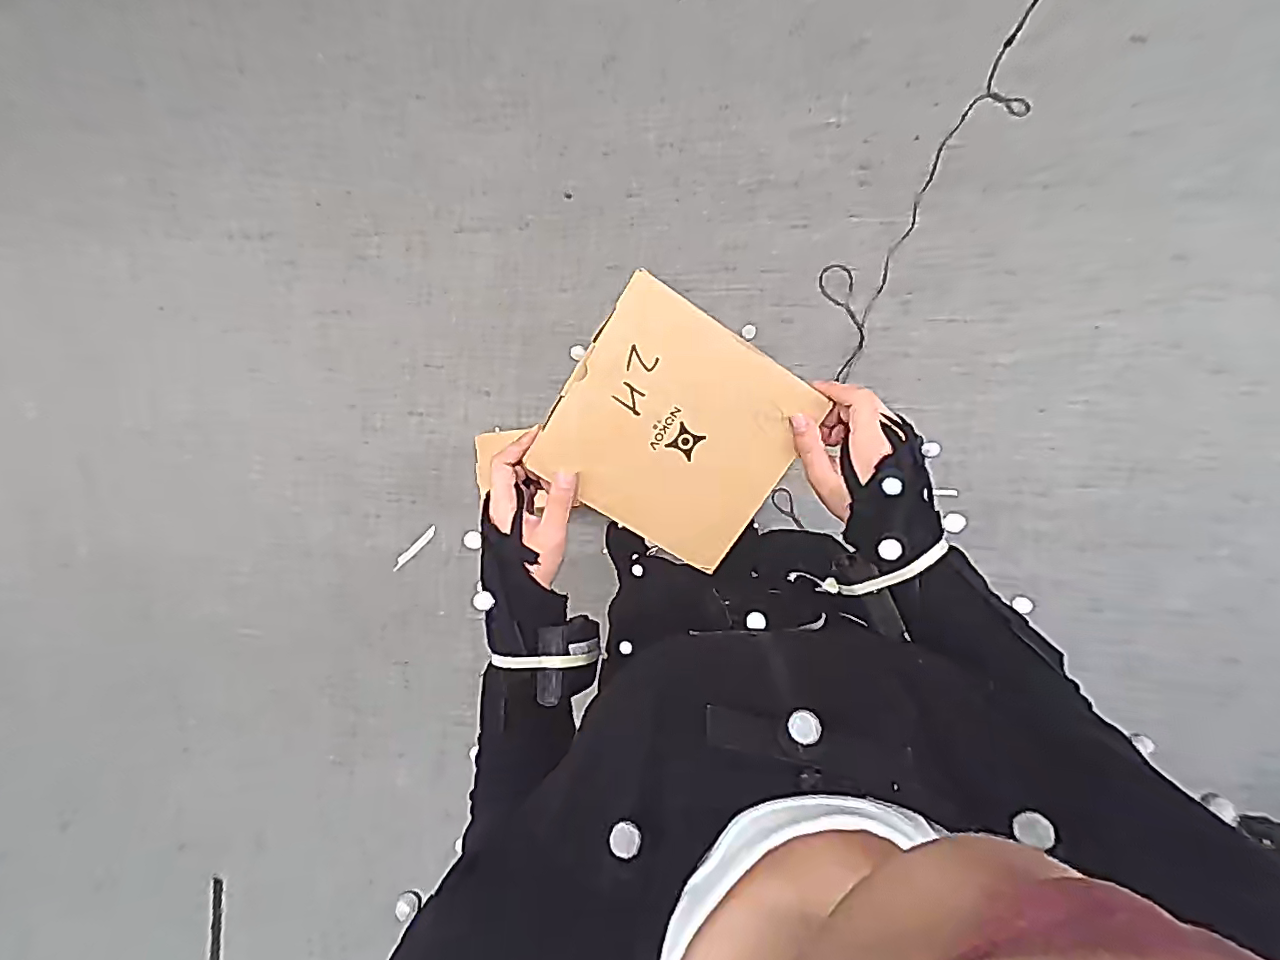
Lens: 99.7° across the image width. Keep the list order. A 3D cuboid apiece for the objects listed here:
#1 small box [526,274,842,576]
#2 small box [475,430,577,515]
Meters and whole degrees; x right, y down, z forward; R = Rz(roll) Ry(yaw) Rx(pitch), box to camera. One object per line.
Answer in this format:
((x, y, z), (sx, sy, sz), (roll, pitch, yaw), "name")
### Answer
((0.030, -0.055, 0.467), (0.179, 0.176, 0.168), (32, 103, -10), "small box")
((-0.238, -0.014, 1.179), (0.179, 0.176, 0.168), (-6, 87, 8), "small box")
